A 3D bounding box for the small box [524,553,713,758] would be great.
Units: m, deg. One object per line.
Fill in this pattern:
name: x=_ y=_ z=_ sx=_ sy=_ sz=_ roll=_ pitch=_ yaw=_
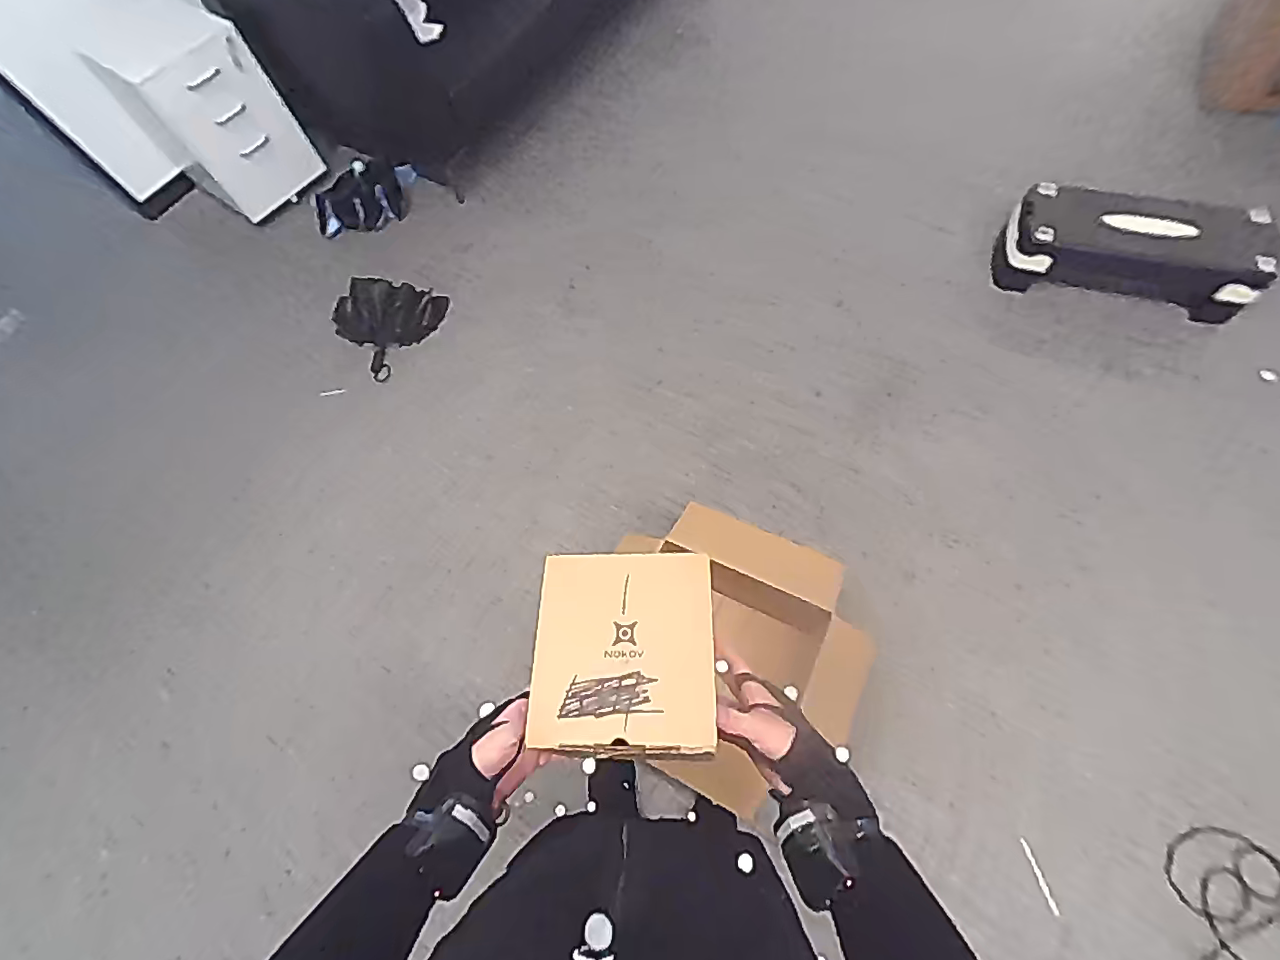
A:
small box: x=-0.009 y=0.188 z=0.561 sx=0.168 sy=0.176 sz=0.179 roll=-2 pitch=60 yaw=5
